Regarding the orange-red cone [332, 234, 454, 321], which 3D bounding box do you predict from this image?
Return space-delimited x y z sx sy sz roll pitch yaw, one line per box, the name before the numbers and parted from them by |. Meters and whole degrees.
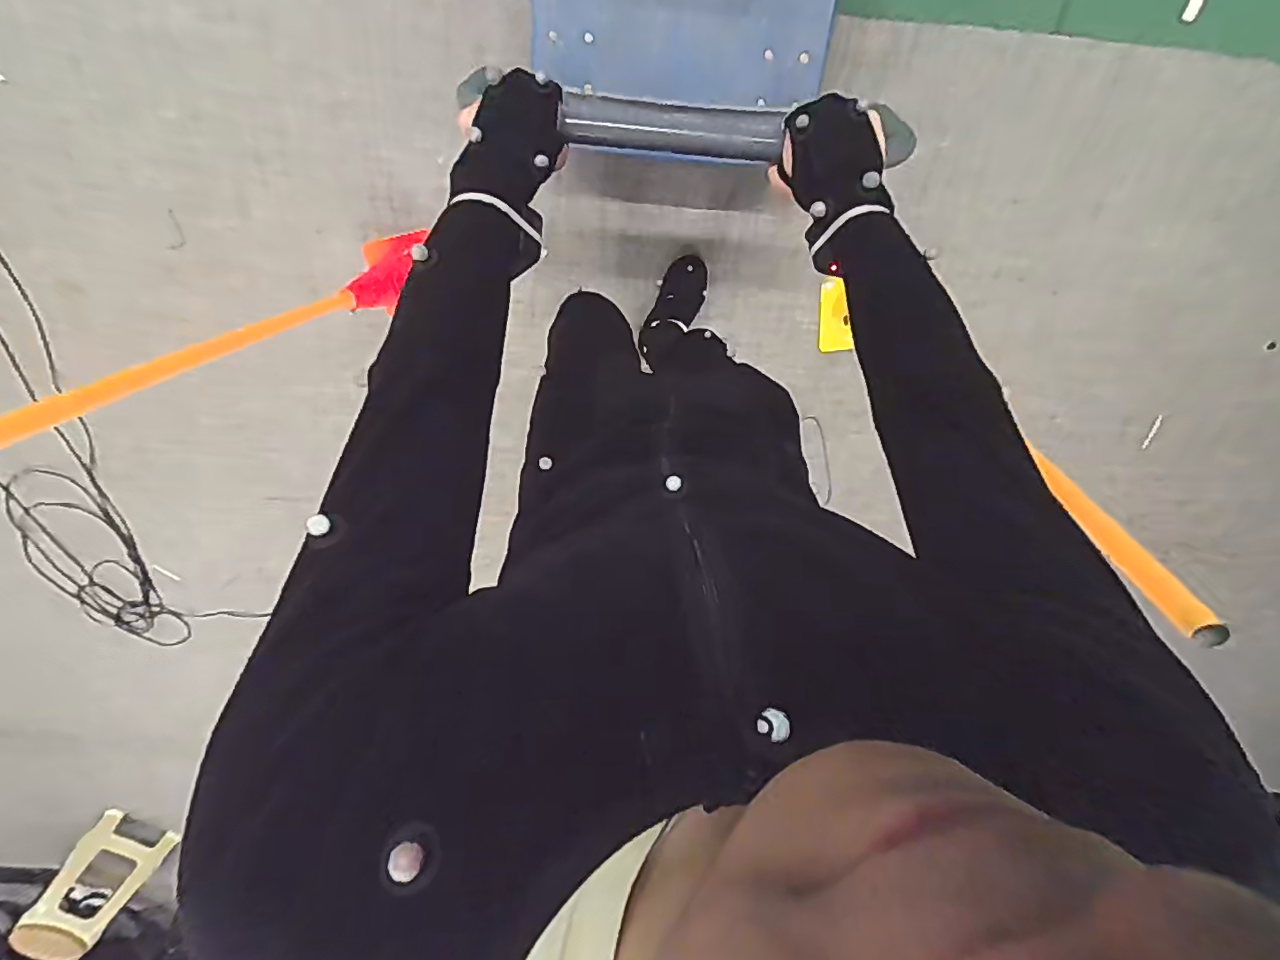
orange-red cone | -0.608 -0.447 1.261 0.199 0.360 0.198 -8 117 7
